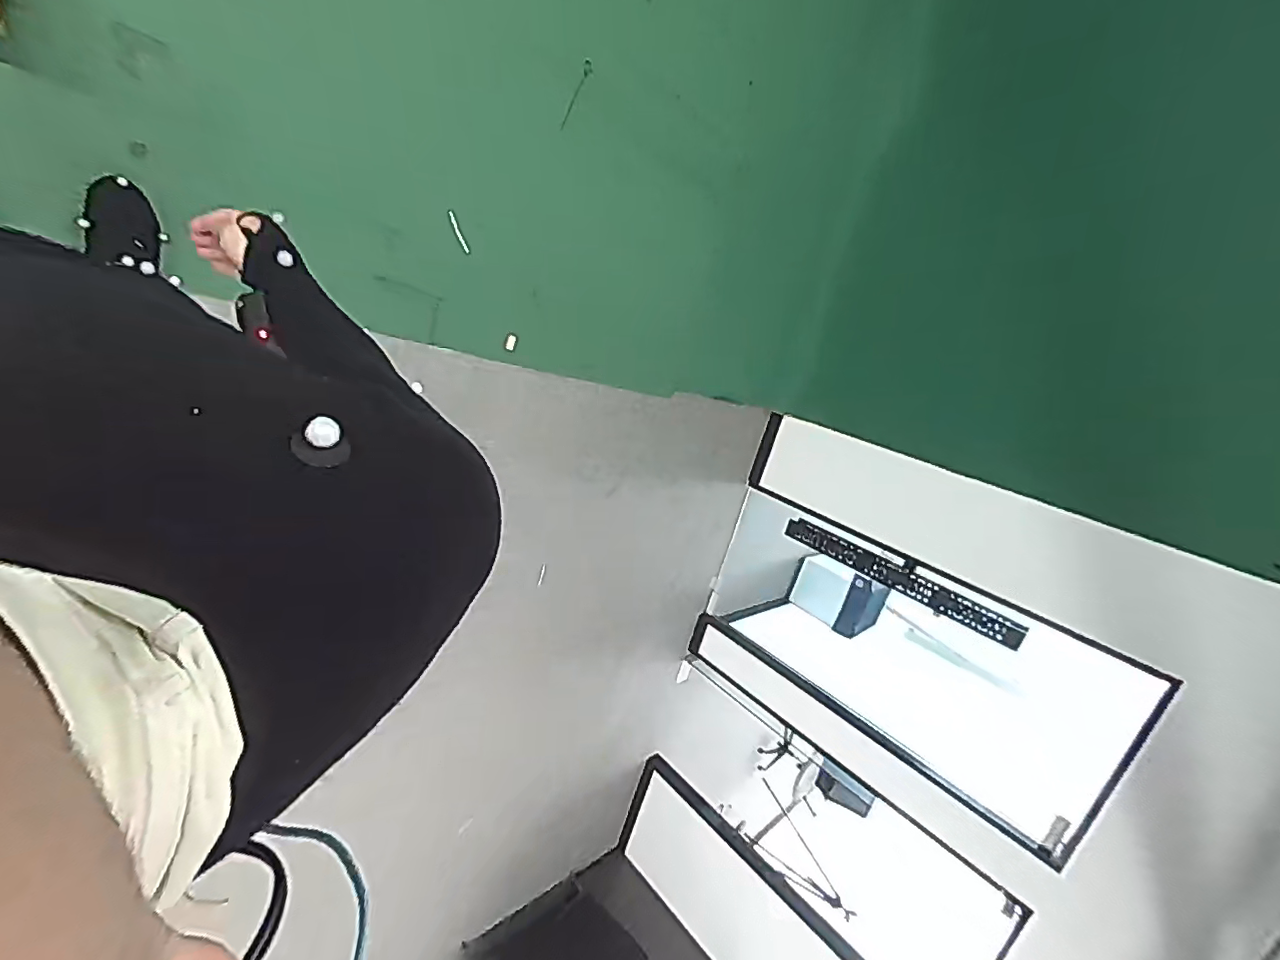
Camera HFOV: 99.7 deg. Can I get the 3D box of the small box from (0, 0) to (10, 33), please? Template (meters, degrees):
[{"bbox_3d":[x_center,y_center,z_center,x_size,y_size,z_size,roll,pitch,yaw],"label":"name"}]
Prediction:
[{"bbox_3d":[-1.085,-0.818,0.816,0.179,0.176,0.168,2,110,-47],"label":"small box"}]
